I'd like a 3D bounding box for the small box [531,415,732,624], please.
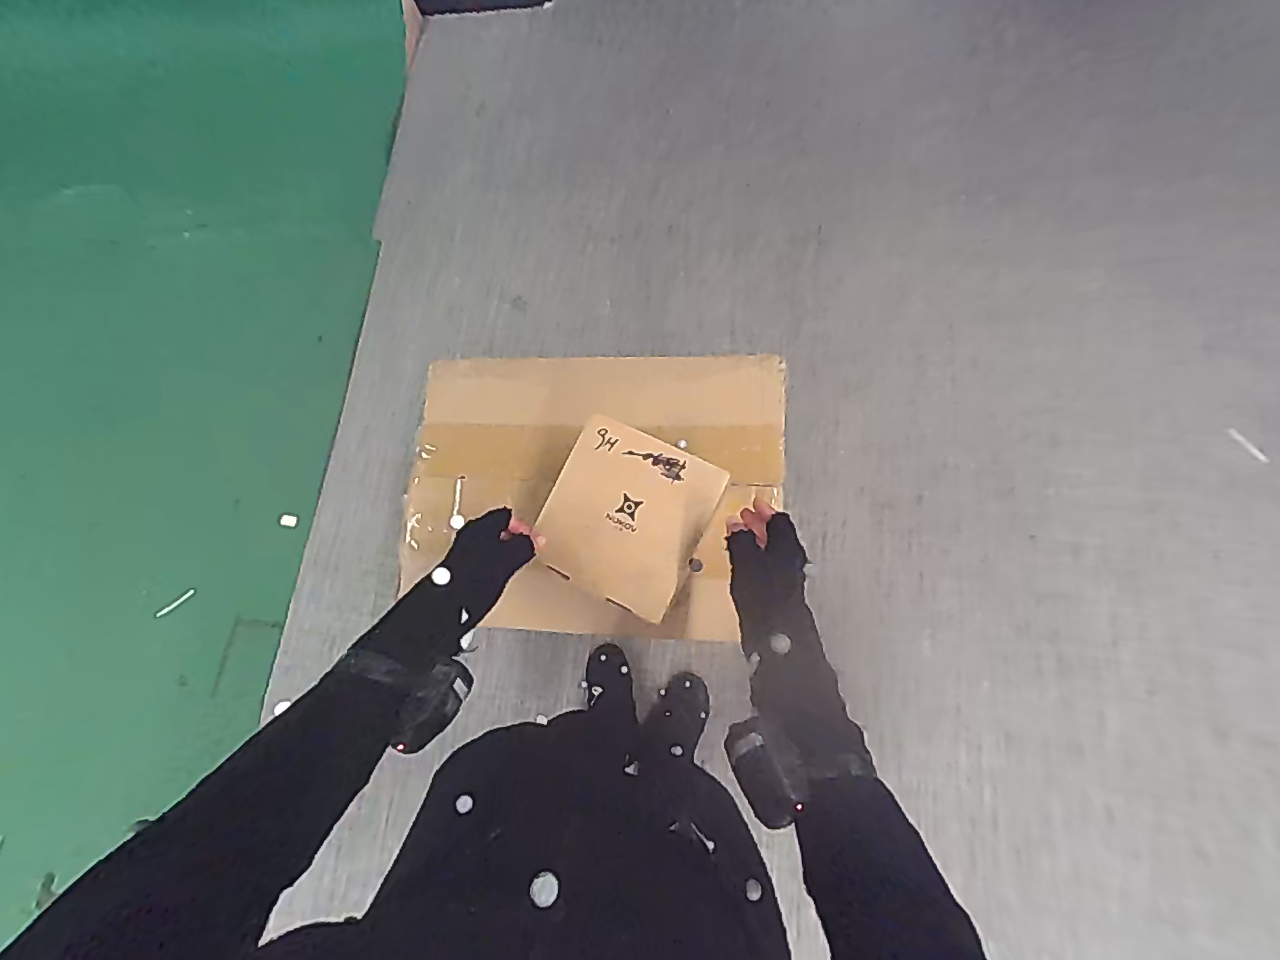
[{"bbox_3d":[0.001,0.049,0.650,0.168,0.176,0.179,25,86,10],"label":"small box"}]
